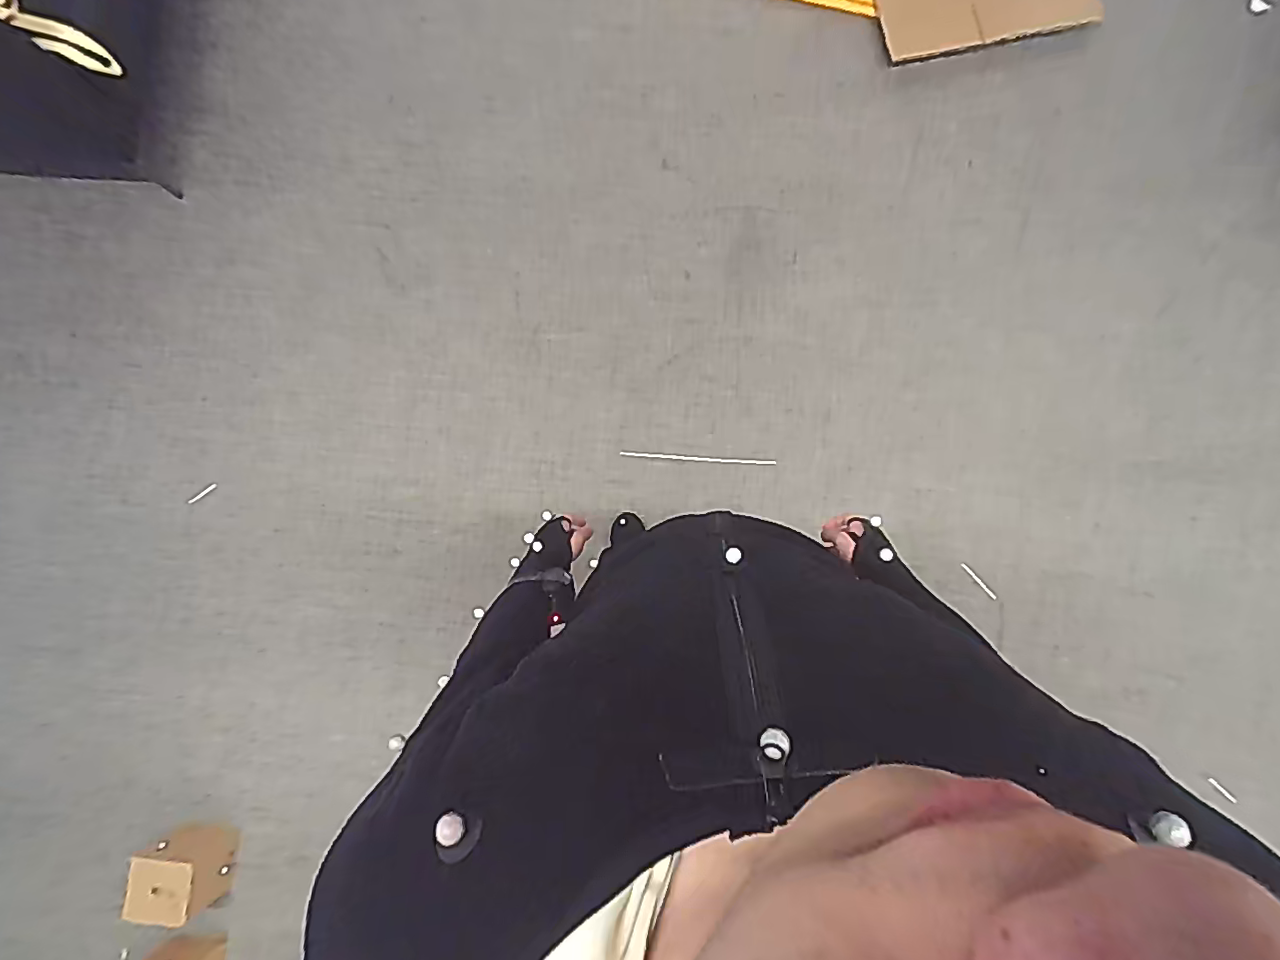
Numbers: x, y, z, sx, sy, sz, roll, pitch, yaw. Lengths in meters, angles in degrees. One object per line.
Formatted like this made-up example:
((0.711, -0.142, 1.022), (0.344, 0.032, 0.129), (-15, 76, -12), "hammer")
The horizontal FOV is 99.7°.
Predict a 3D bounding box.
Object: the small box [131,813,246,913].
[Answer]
((-1.290, 1.091, 1.556), (0.179, 0.176, 0.168), (6, 86, 3), "small box")

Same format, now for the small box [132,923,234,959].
((-1.308, 1.405, 1.534), (0.179, 0.176, 0.168), (3, 86, 2), "small box")
